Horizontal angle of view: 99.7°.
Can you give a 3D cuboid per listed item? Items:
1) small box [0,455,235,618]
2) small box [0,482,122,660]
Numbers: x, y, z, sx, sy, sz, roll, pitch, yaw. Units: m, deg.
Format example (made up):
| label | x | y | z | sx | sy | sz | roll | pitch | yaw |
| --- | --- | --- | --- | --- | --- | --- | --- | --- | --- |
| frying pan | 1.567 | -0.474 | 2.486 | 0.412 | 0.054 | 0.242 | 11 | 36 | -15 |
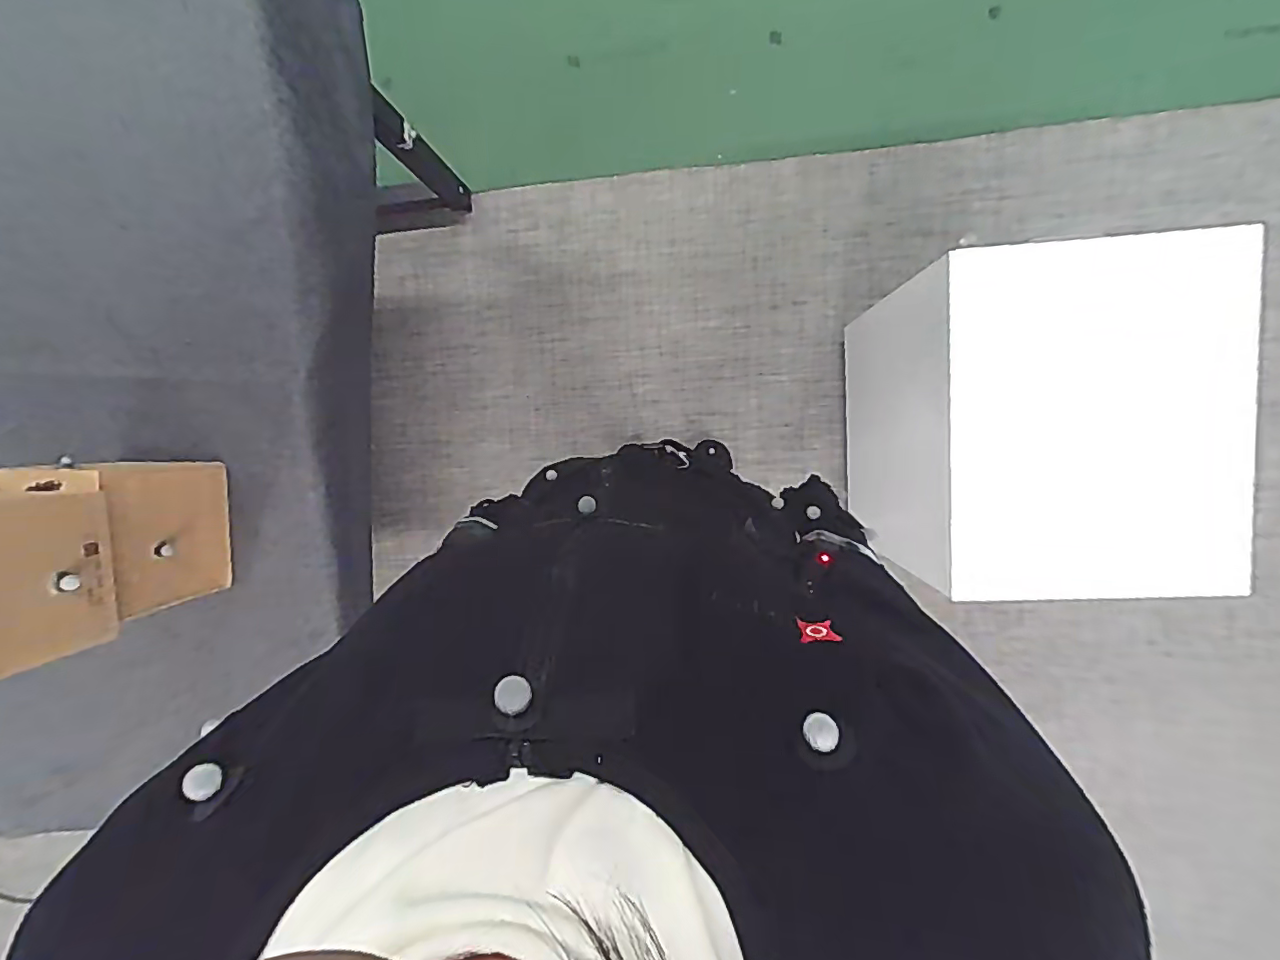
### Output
| label | x | y | z | sx | sy | sz | roll | pitch | yaw |
| --- | --- | --- | --- | --- | --- | --- | --- | --- | --- |
| small box | -0.663 | 0.062 | 0.694 | 0.168 | 0.176 | 0.179 | 1 | 96 | 6 |
| small box | -0.678 | 0.093 | 0.533 | 0.179 | 0.176 | 0.168 | -3 | 95 | 8 |
